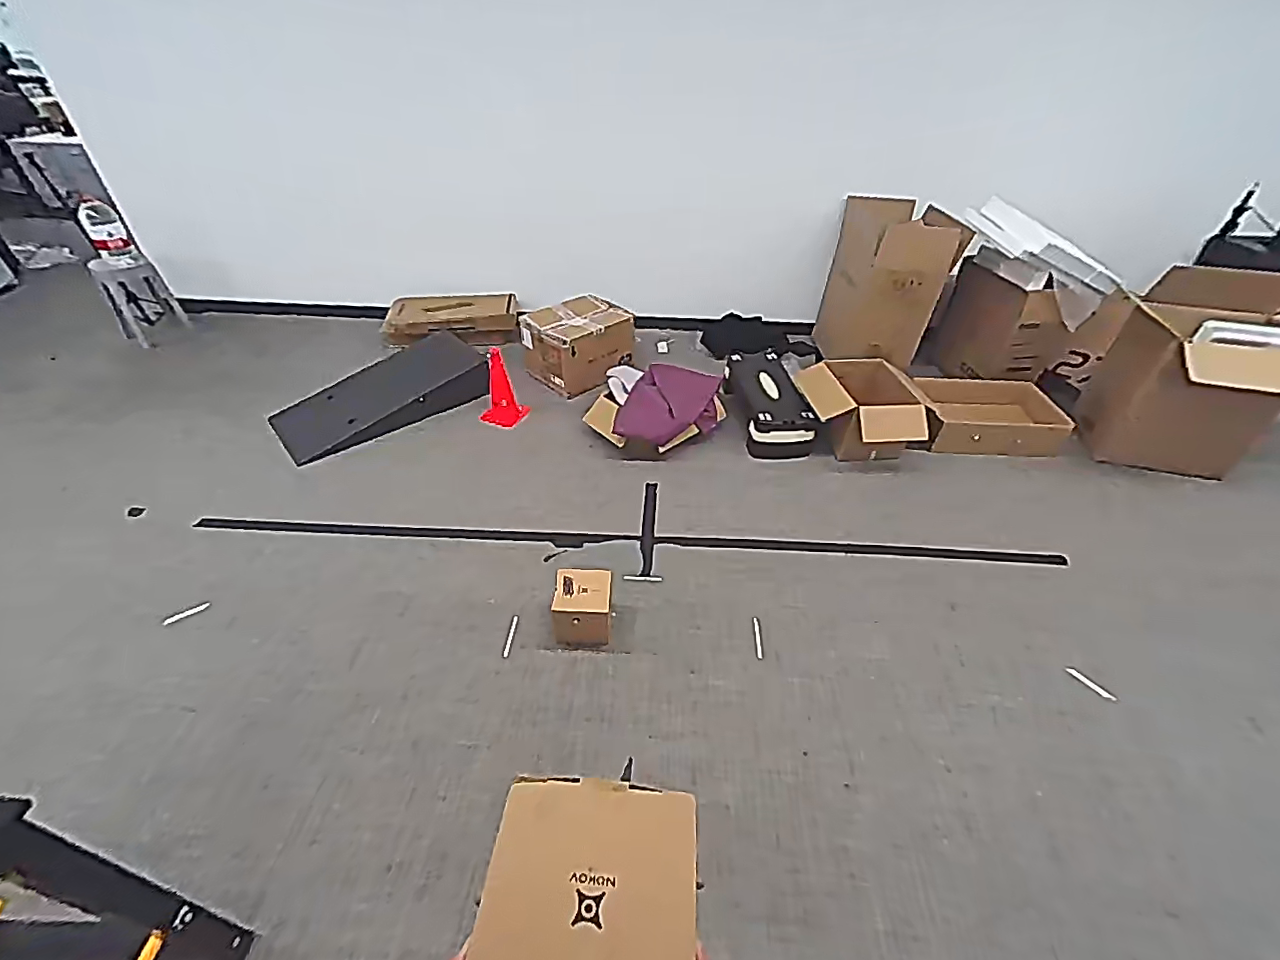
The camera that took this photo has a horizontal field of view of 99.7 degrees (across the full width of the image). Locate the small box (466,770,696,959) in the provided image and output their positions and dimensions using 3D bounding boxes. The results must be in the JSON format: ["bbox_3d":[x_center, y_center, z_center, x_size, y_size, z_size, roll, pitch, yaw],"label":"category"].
[{"bbox_3d":[-0.043,0.384,0.464,0.168,0.176,0.179,5,38,2],"label":"small box"}]

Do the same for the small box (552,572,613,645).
[{"bbox_3d":[-0.180,0.417,1.742,0.179,0.176,0.168,2,40,0],"label":"small box"}]
